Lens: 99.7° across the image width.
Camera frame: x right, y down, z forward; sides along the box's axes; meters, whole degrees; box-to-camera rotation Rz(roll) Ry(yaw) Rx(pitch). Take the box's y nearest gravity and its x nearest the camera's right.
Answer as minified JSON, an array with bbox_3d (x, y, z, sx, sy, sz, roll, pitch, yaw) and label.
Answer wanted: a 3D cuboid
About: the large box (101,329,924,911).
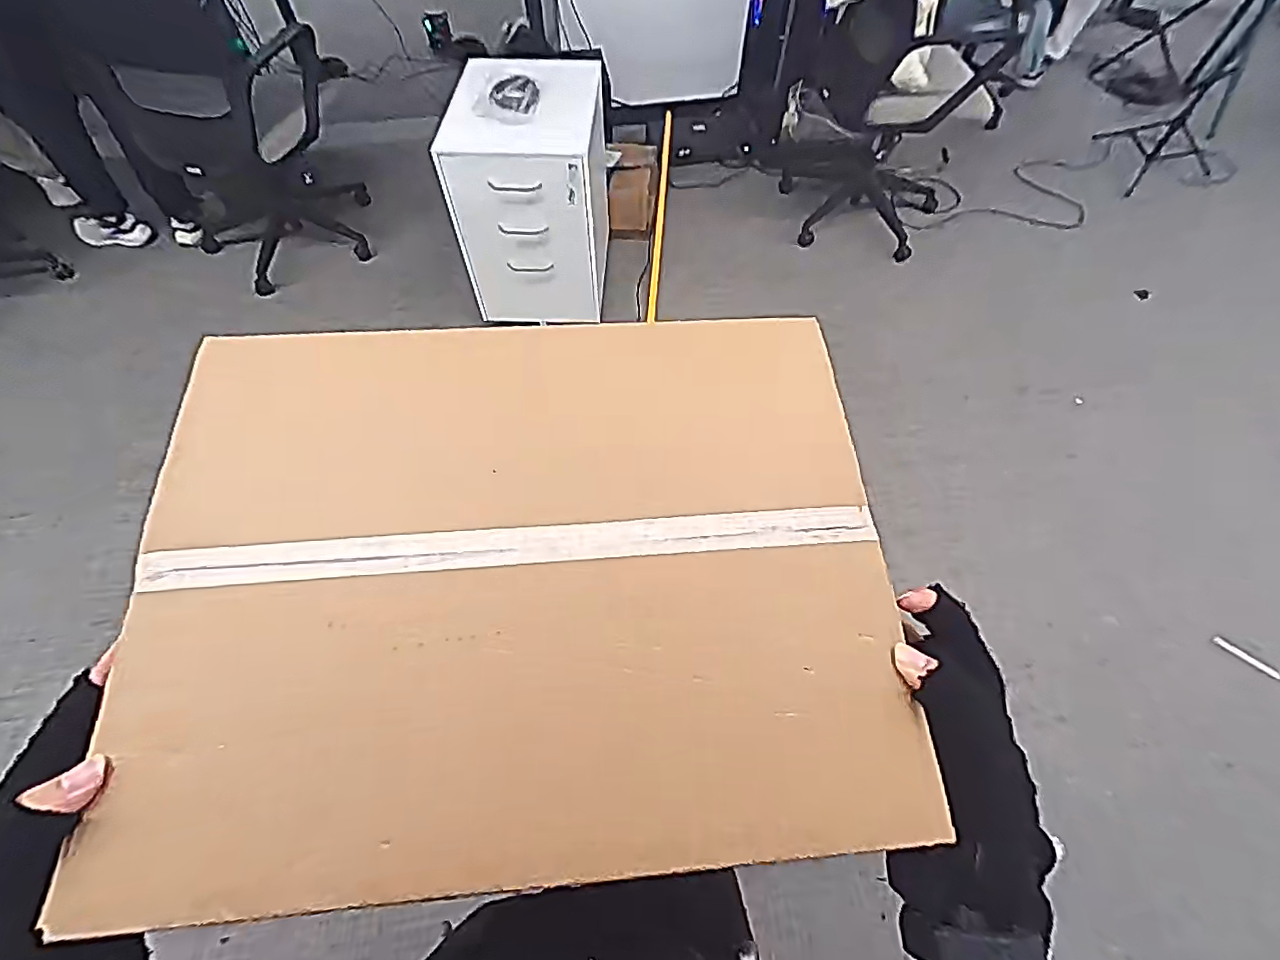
[{"bbox_3d":[-0.071,0.102,0.455,0.408,0.320,0.320,-3,67,-4],"label":"large box"}]
